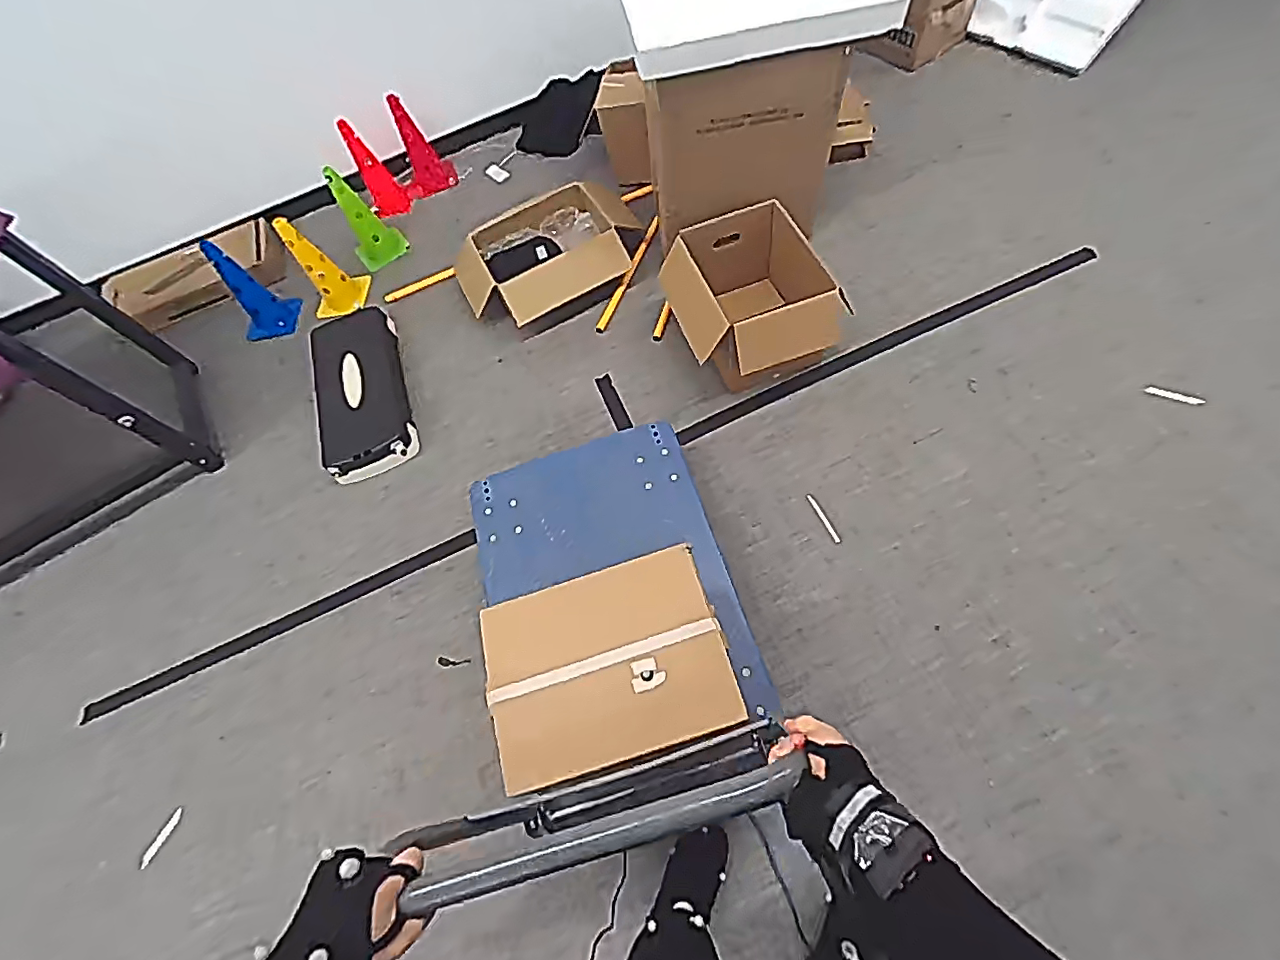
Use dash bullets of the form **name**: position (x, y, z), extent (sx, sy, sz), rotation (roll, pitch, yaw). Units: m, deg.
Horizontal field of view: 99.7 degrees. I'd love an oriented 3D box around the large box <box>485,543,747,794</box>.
- **large box**: position (-0.037, 0.376, 1.060), extent (0.408, 0.320, 0.320), rotation (-19, 62, -1)
